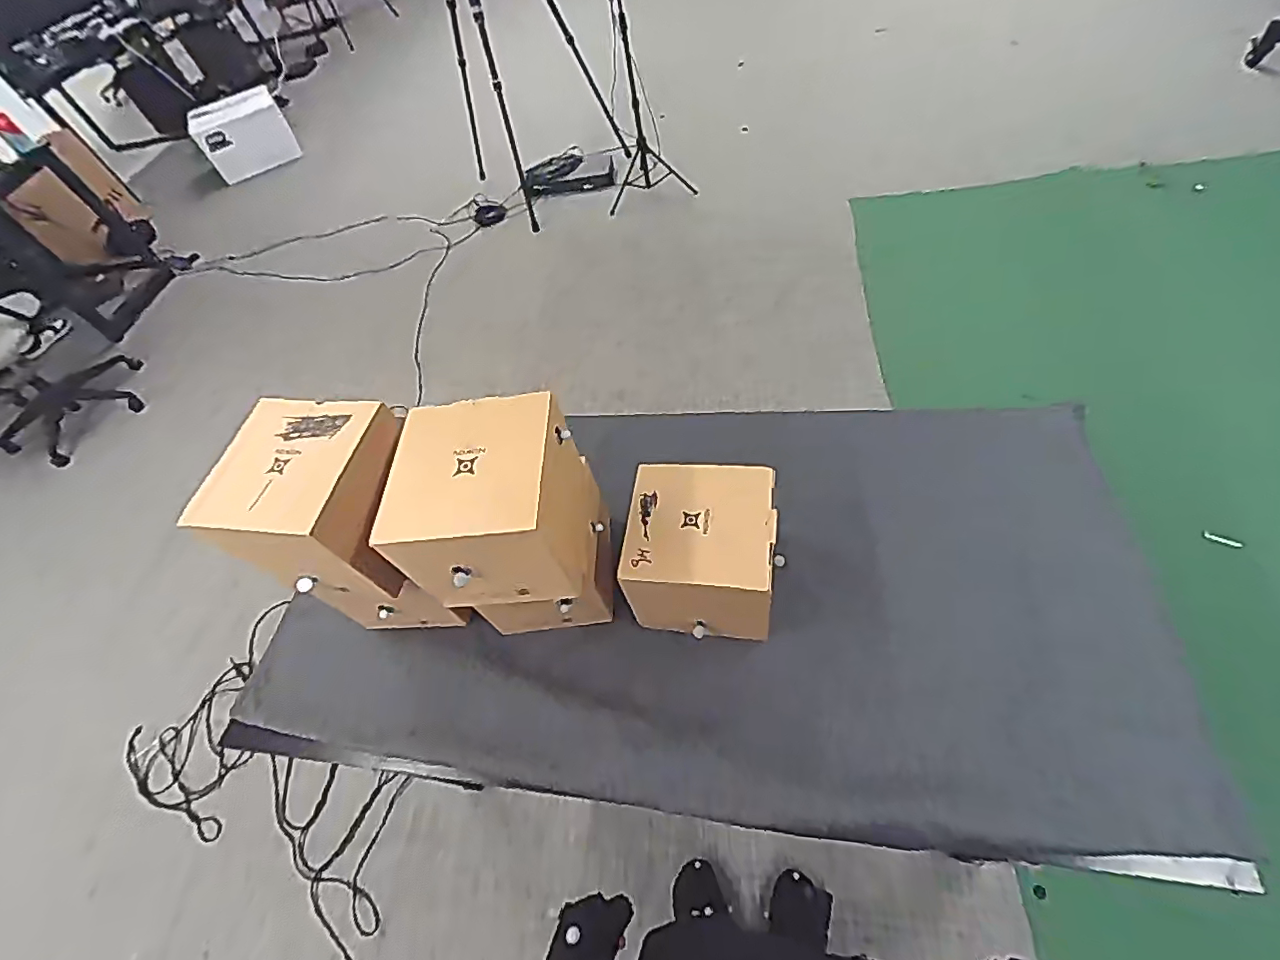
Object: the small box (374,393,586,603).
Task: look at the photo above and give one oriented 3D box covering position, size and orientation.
[{"bbox_3d":[-0.160,0.030,0.609,0.168,0.176,0.179,-6,54,6],"label":"small box"}]
